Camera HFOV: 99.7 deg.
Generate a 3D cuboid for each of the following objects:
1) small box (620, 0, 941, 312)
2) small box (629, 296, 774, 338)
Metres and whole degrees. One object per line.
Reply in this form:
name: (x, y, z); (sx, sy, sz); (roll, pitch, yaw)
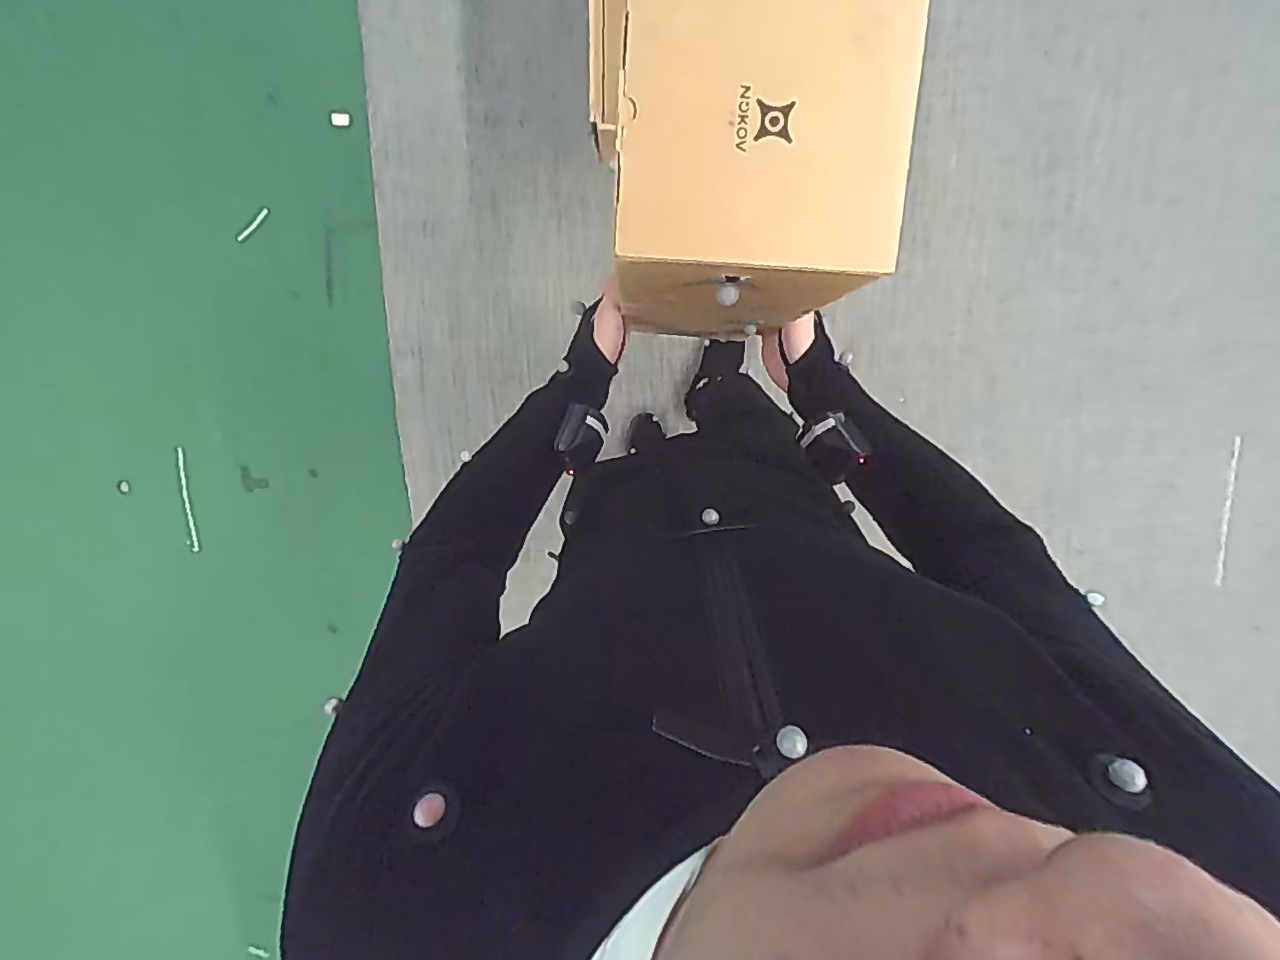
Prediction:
small box: (0.079, -0.221, 0.396); (0.179, 0.176, 0.168); (4, 99, 0)
small box: (0.081, -0.284, 0.717); (0.179, 0.176, 0.168); (5, 99, 0)
